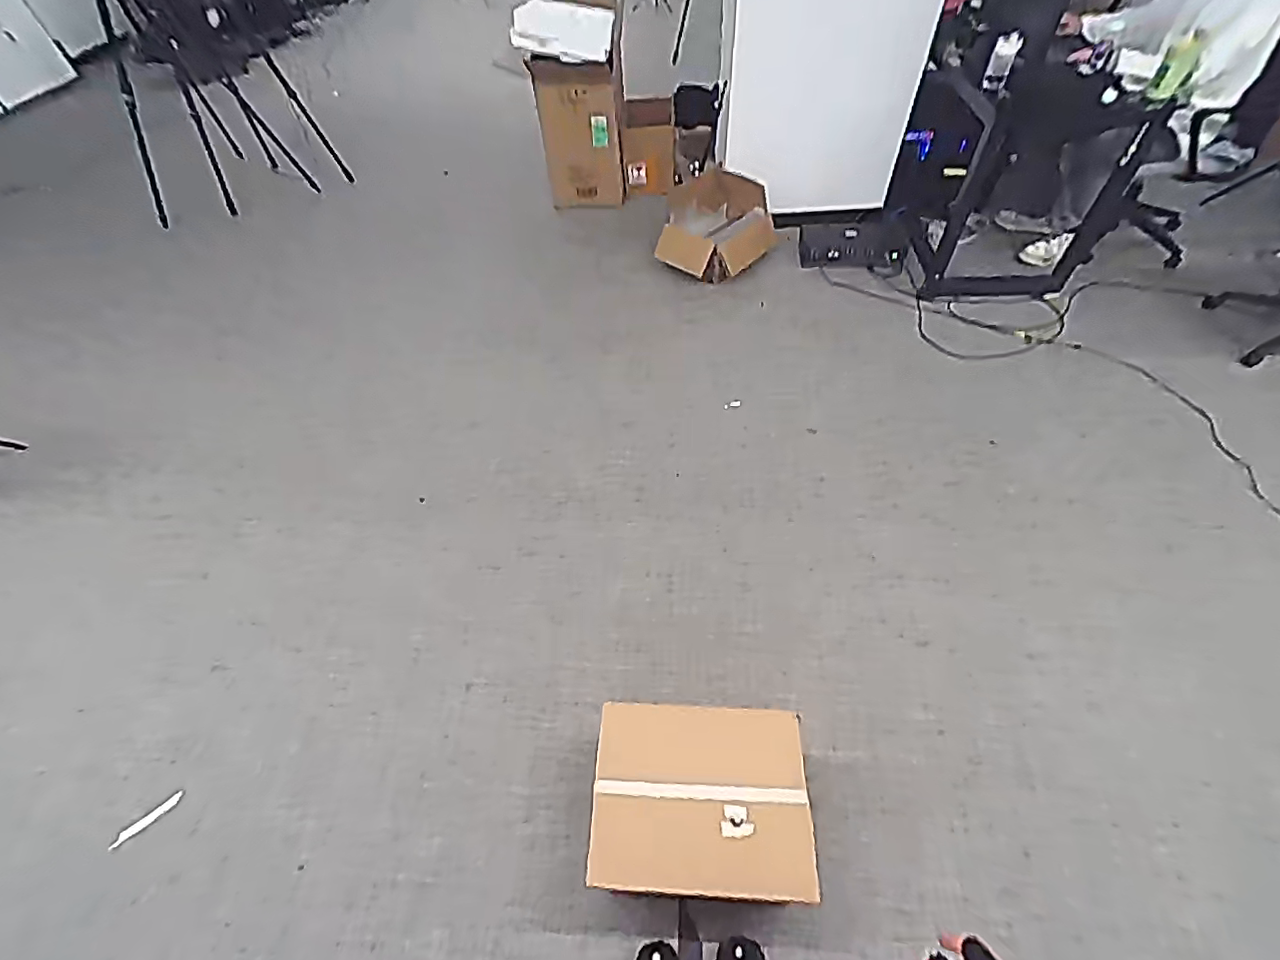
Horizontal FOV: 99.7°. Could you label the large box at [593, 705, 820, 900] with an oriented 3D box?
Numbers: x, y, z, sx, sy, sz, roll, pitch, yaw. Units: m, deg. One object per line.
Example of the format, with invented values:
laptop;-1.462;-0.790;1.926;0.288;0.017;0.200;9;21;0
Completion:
large box;0.123;0.686;1.147;0.408;0.320;0.320;1;52;4
